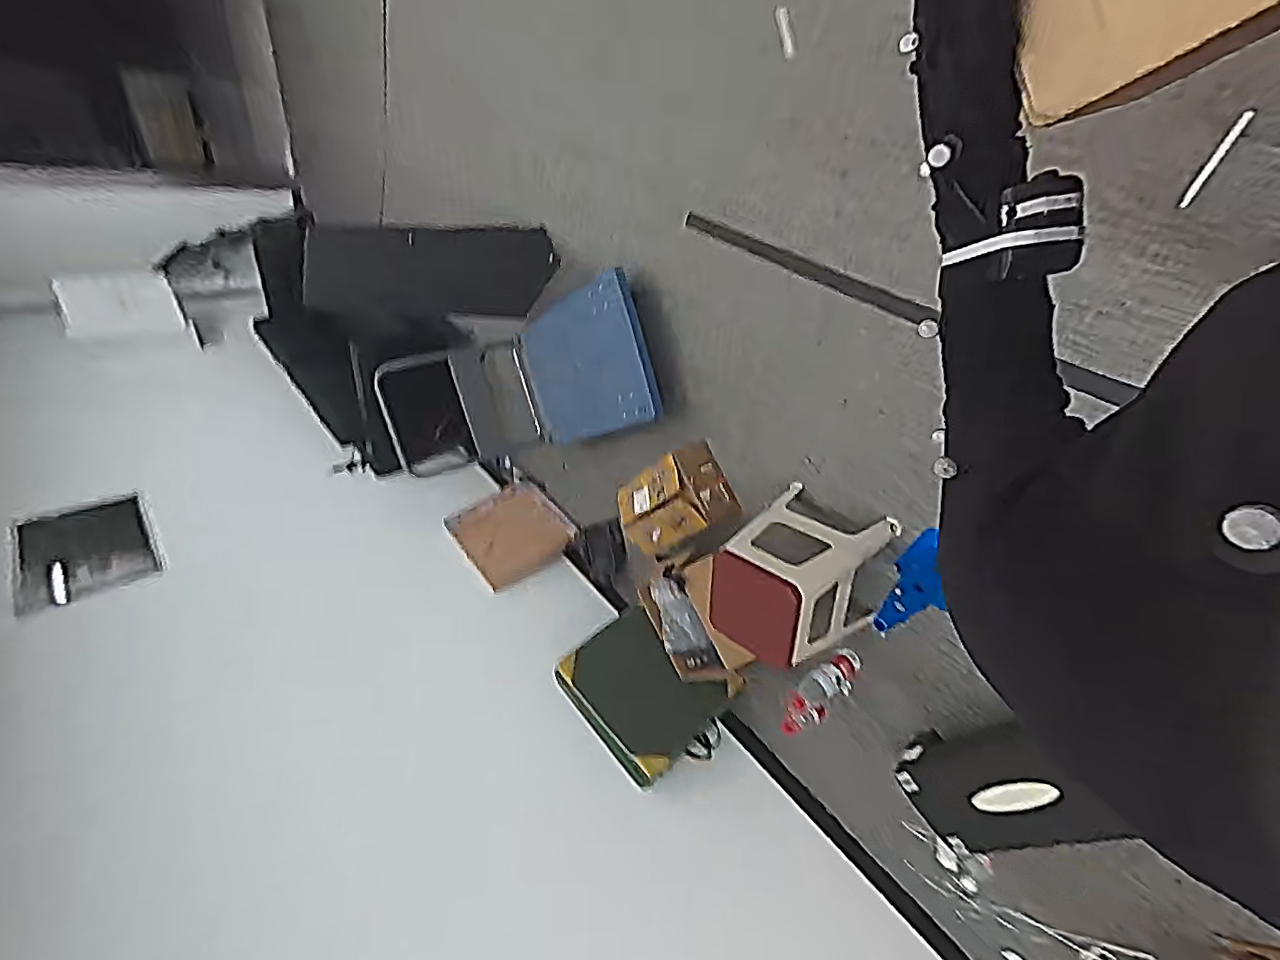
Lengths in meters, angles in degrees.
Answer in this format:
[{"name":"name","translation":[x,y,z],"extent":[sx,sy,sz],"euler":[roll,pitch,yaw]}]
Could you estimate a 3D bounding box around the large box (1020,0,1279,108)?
[{"name":"large box","translation":[0.442,-0.474,0.273],"extent":[0.408,0.320,0.320],"euler":[-8,110,54]}]
